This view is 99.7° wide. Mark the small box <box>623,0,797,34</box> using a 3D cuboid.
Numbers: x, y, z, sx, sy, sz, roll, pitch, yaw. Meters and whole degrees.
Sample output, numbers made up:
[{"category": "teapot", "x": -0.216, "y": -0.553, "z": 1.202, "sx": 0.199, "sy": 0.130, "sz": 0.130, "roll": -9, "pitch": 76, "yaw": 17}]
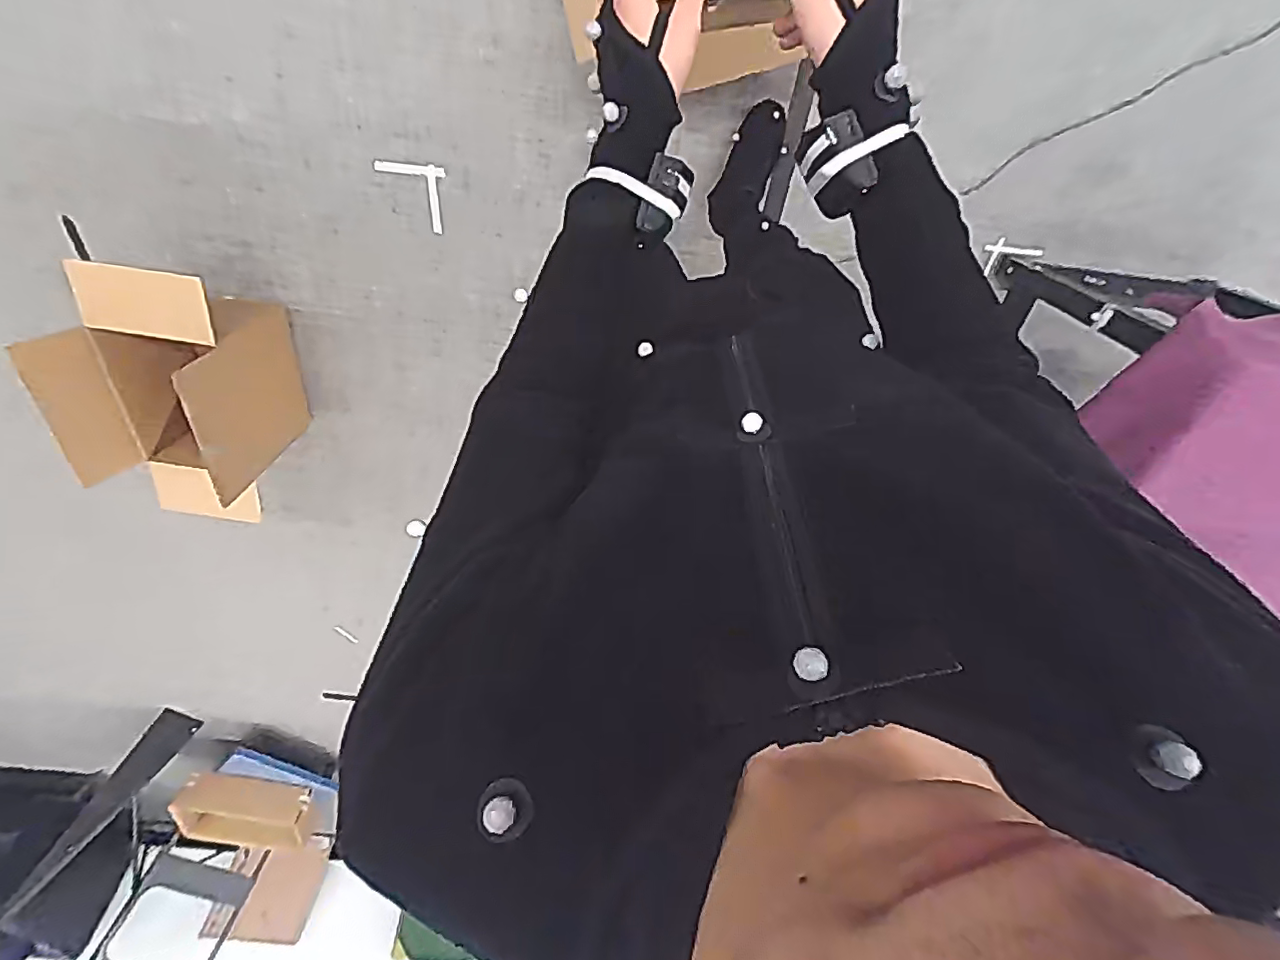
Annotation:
[{"category": "small box", "x": 0.061, "y": -0.490, "z": 0.437, "sx": 0.168, "sy": 0.176, "sz": 0.179, "roll": -7, "pitch": 119, "yaw": 2}]
